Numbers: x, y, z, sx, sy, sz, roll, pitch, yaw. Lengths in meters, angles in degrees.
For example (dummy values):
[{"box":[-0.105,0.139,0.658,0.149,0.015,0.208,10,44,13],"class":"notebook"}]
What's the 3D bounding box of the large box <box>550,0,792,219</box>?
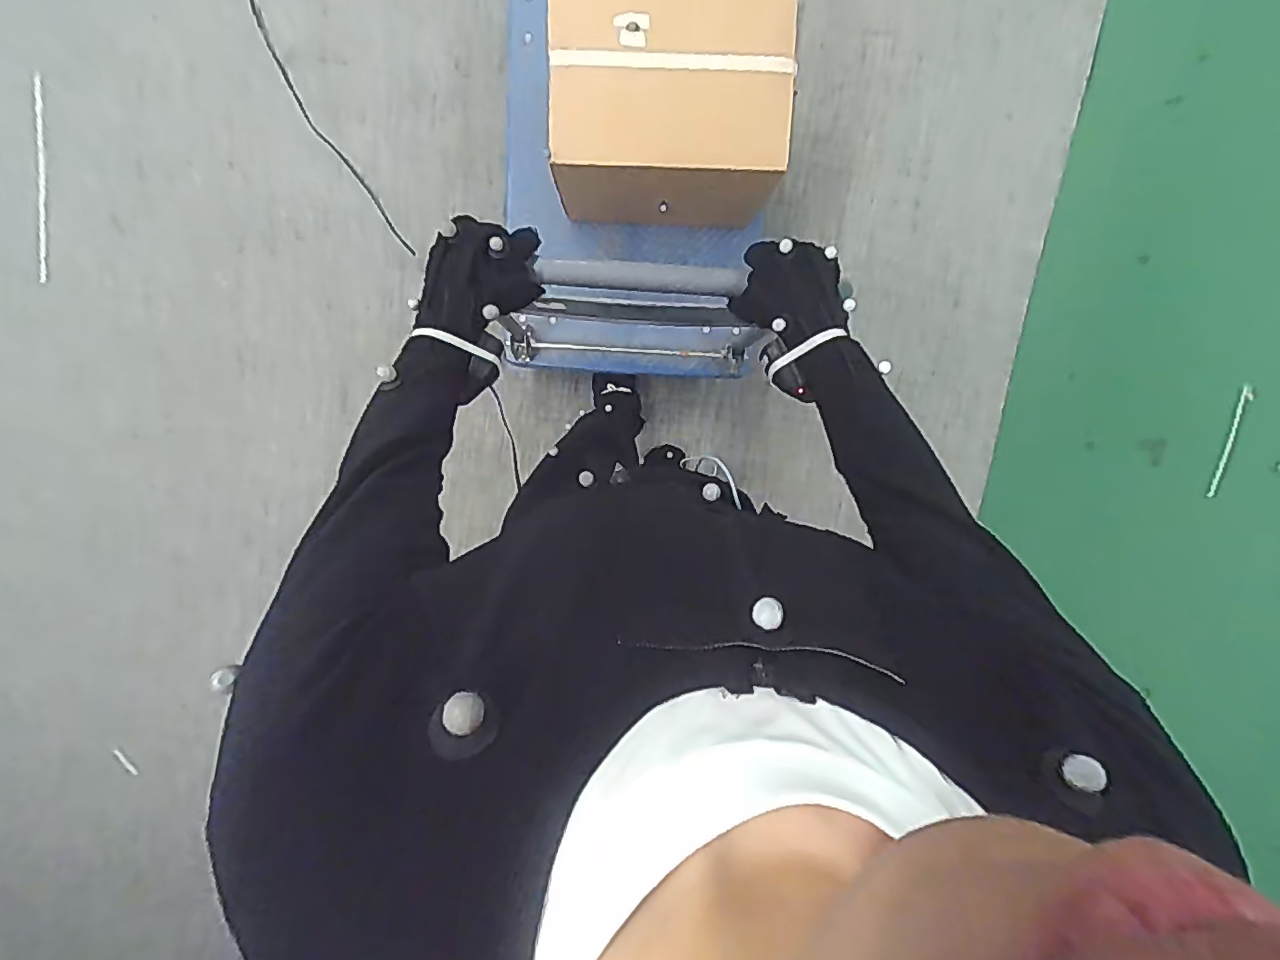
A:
[{"box":[0.051,-0.712,1.042,0.408,0.320,0.320,2,98,0],"class":"large box"}]
